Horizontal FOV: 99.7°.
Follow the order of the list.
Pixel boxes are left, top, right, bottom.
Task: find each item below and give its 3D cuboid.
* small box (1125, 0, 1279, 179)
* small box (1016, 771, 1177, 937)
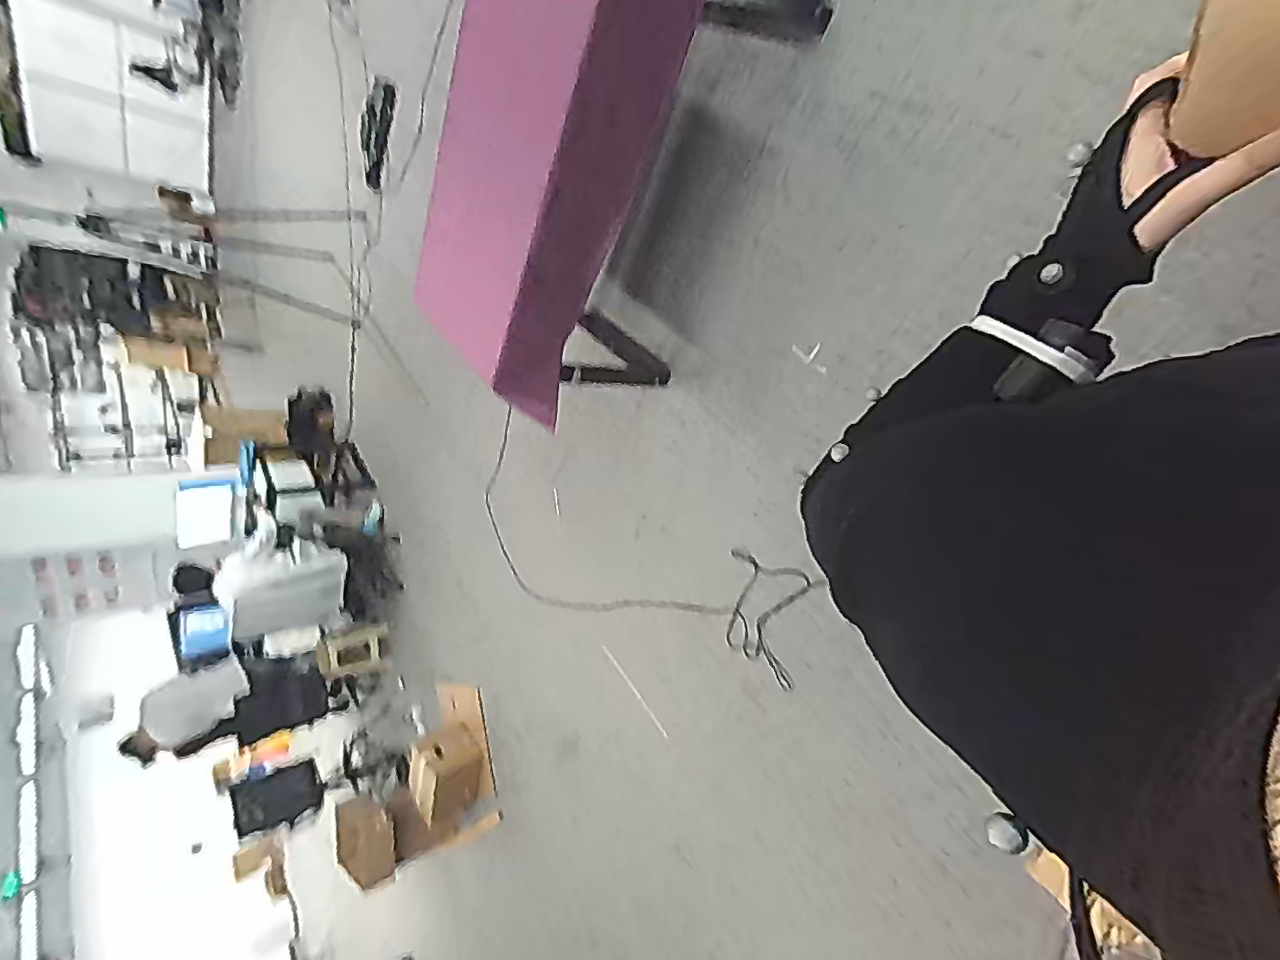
[{"bbox_3d":[0.374,-0.274,0.249,0.168,0.179,0.176,28,78,43],"label":"small box"},{"bbox_3d":[0.876,0.707,1.042,0.168,0.176,0.179,41,123,35],"label":"small box"}]
